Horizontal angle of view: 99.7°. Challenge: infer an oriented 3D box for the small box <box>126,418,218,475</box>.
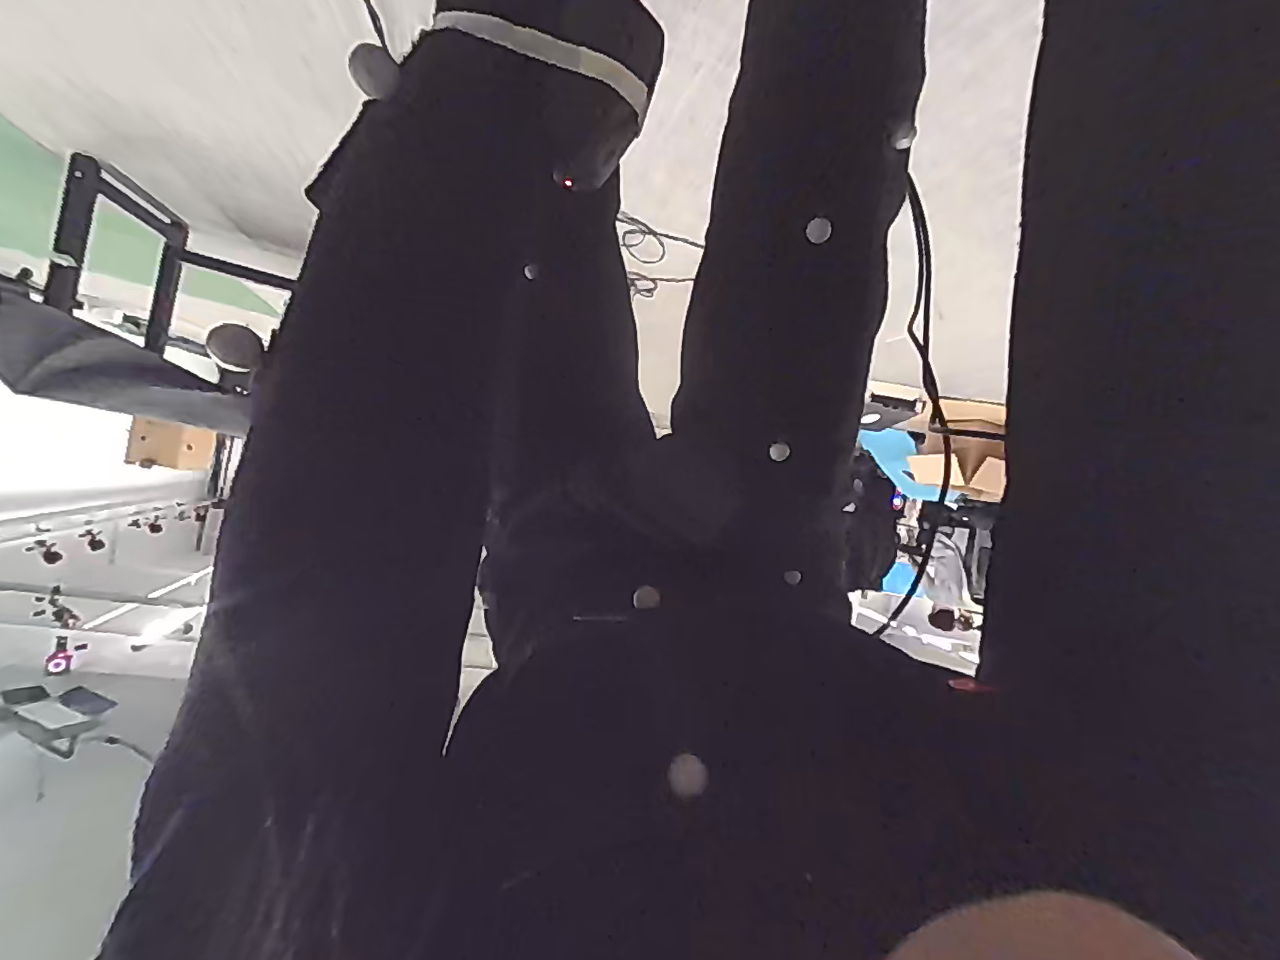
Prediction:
[{"bbox_3d":[-1.631,-0.117,1.892,0.168,0.176,0.179,13,-179,-6],"label":"small box"}]
